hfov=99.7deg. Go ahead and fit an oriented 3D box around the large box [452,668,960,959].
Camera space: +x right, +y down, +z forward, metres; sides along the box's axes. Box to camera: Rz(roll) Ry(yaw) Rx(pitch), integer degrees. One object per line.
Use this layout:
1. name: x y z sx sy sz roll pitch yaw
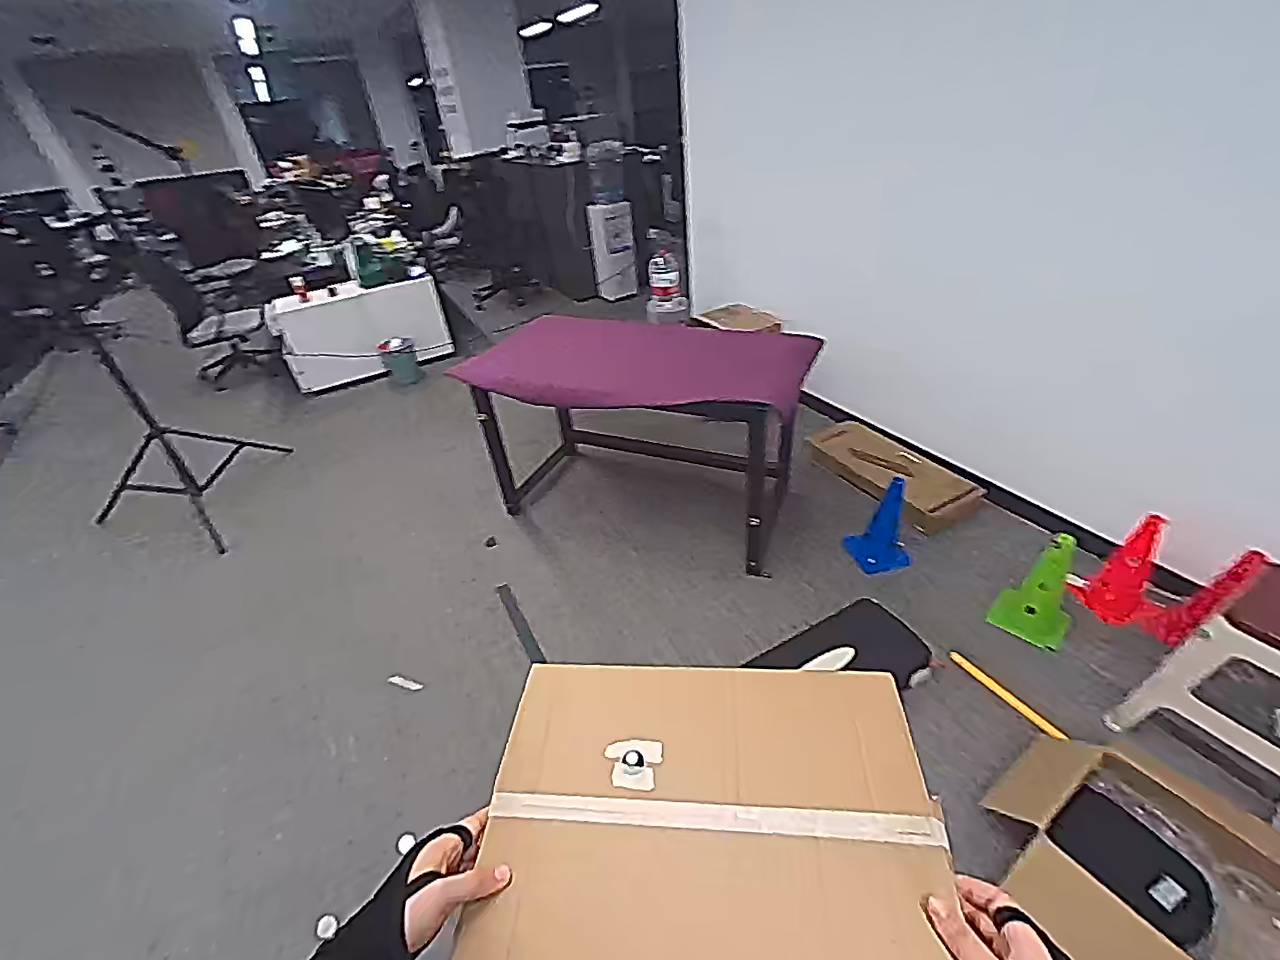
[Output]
1. large box: 0.073 0.430 0.590 0.408 0.320 0.320 -4 37 9
